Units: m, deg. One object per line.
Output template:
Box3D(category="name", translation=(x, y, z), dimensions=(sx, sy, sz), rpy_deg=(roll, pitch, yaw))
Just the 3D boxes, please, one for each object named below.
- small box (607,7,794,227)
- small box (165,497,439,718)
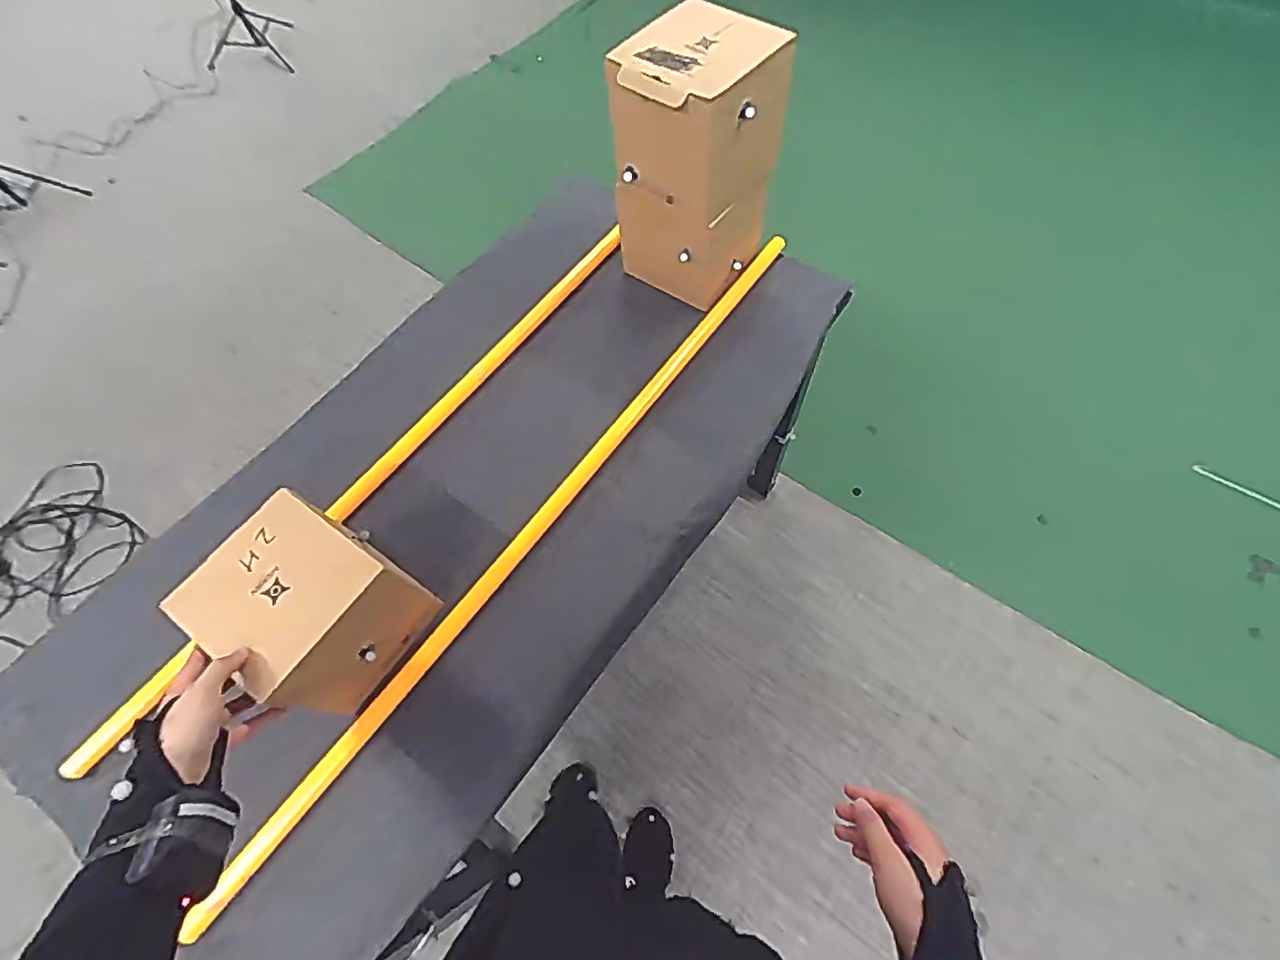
Box3D(category="small box", translation=(0.080, -0.483, 0.732), dimensions=(0.168, 0.176, 0.179), rpy_deg=(37, 71, 19))
Box3D(category="small box", translation=(-0.372, 0.155, 0.631), dimensions=(0.179, 0.176, 0.168), rpy_deg=(30, 69, 18))
